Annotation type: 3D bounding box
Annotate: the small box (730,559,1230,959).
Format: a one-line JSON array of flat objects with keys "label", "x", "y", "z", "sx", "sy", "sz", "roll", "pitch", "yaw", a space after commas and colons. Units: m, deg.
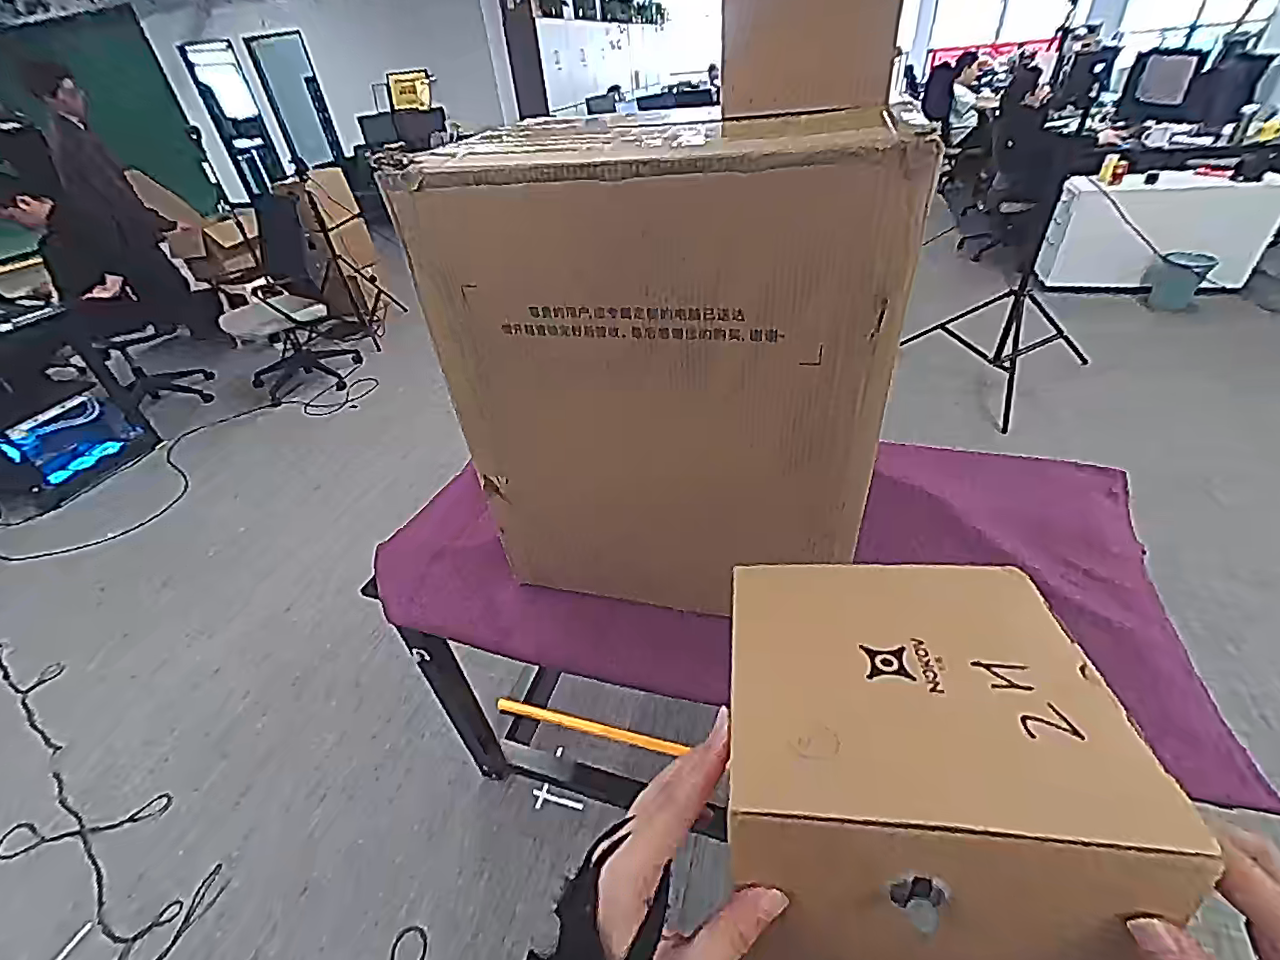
[{"label": "small box", "x": 0.145, "y": 0.162, "z": 0.308, "sx": 0.179, "sy": 0.176, "sz": 0.168, "roll": -1, "pitch": 29, "yaw": 12}]
